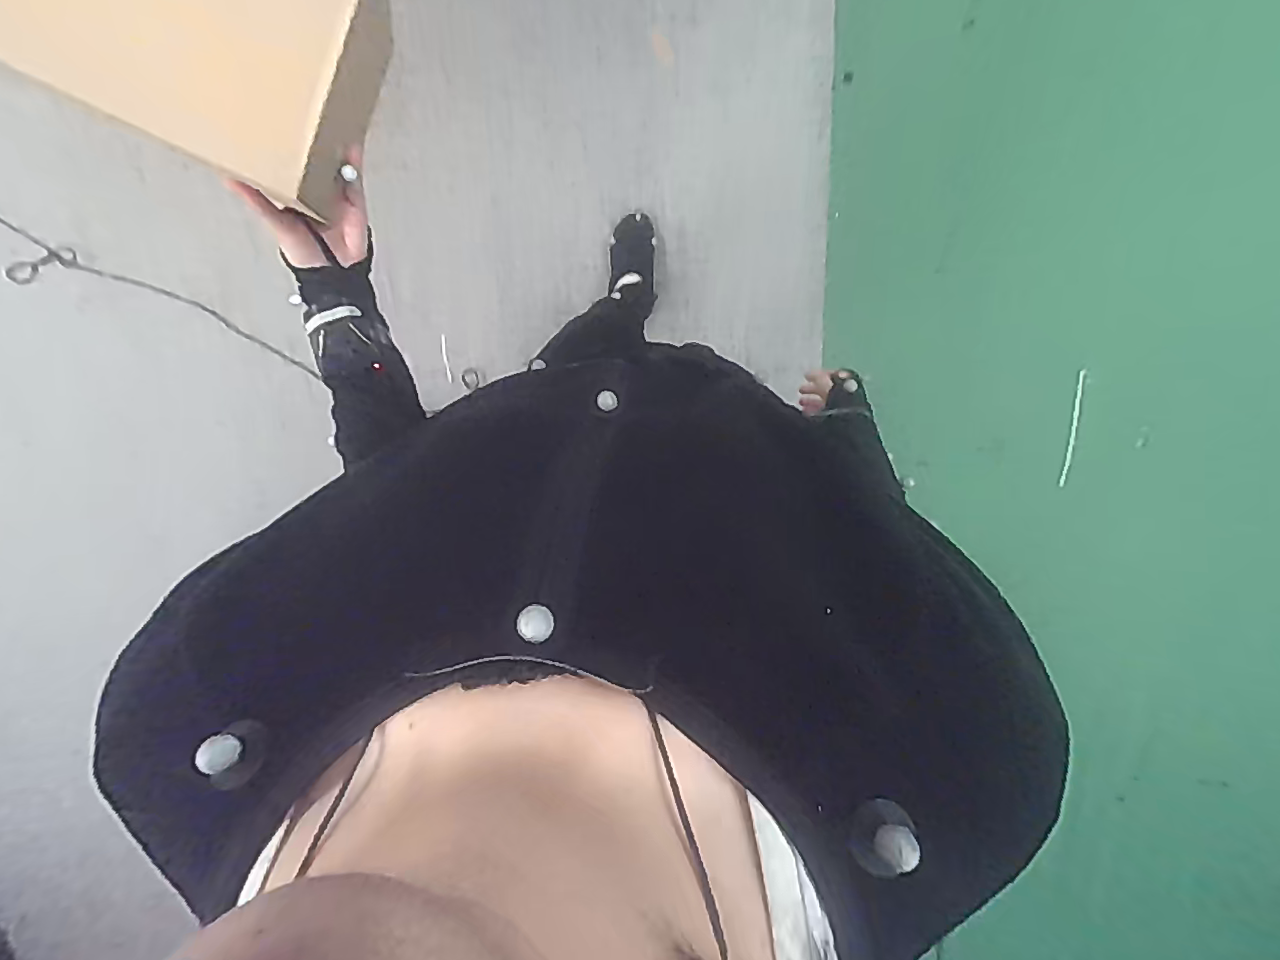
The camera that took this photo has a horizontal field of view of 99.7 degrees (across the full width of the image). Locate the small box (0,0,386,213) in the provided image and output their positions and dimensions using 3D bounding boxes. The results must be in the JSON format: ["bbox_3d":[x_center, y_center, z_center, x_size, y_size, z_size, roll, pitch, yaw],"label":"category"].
[{"bbox_3d":[-0.279,-0.309,0.353,0.168,0.179,0.176,20,98,-28],"label":"small box"}]
